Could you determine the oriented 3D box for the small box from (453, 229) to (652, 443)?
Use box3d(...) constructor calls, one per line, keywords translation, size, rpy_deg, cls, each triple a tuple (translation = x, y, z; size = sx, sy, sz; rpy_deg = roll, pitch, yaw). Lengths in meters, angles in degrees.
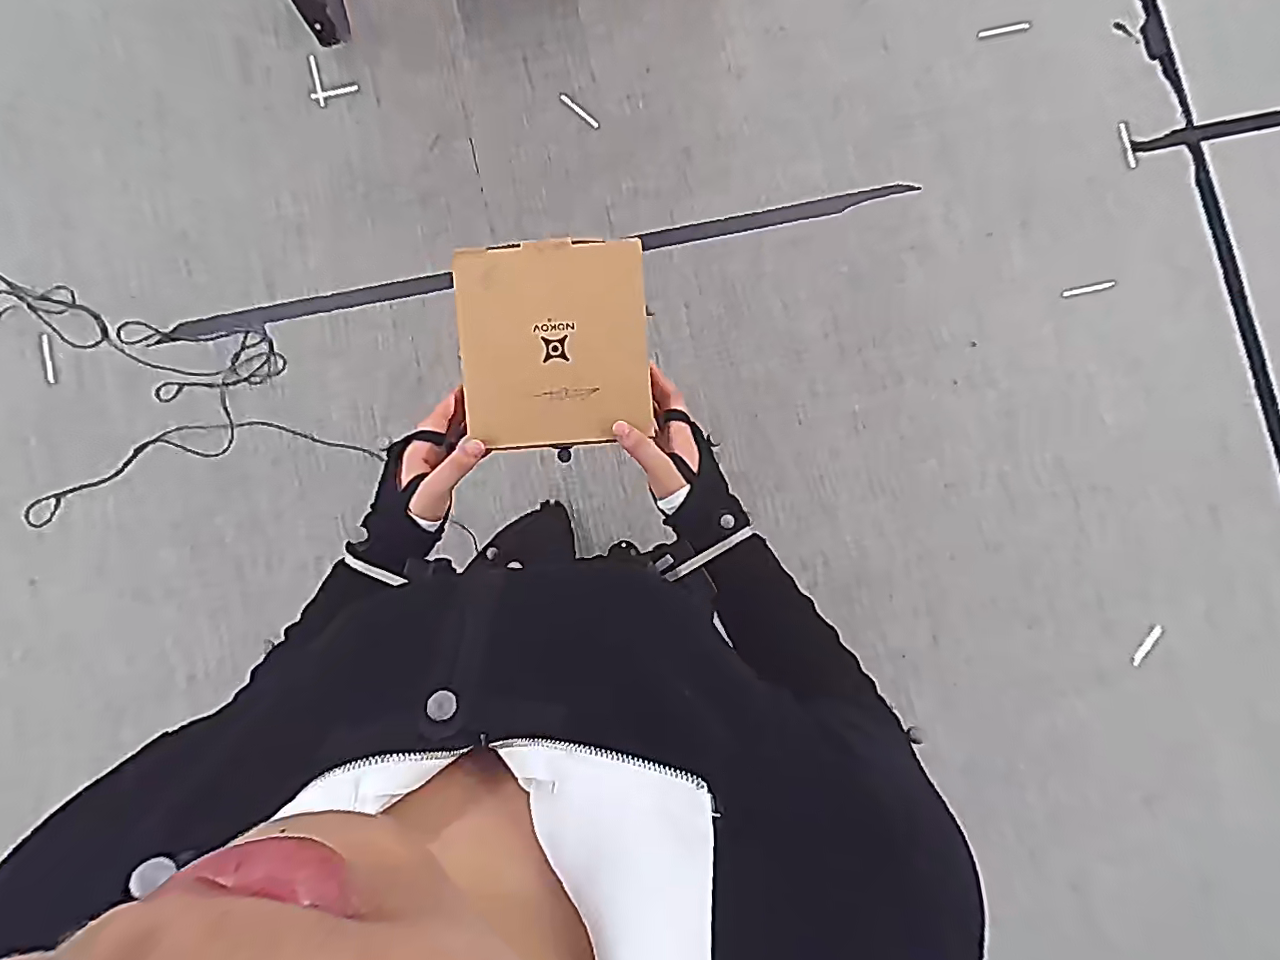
box3d(translation=(-0.079, -0.131, 0.552), size=(0.168, 0.176, 0.179), rpy_deg=(-4, 94, -1), cls="small box")
